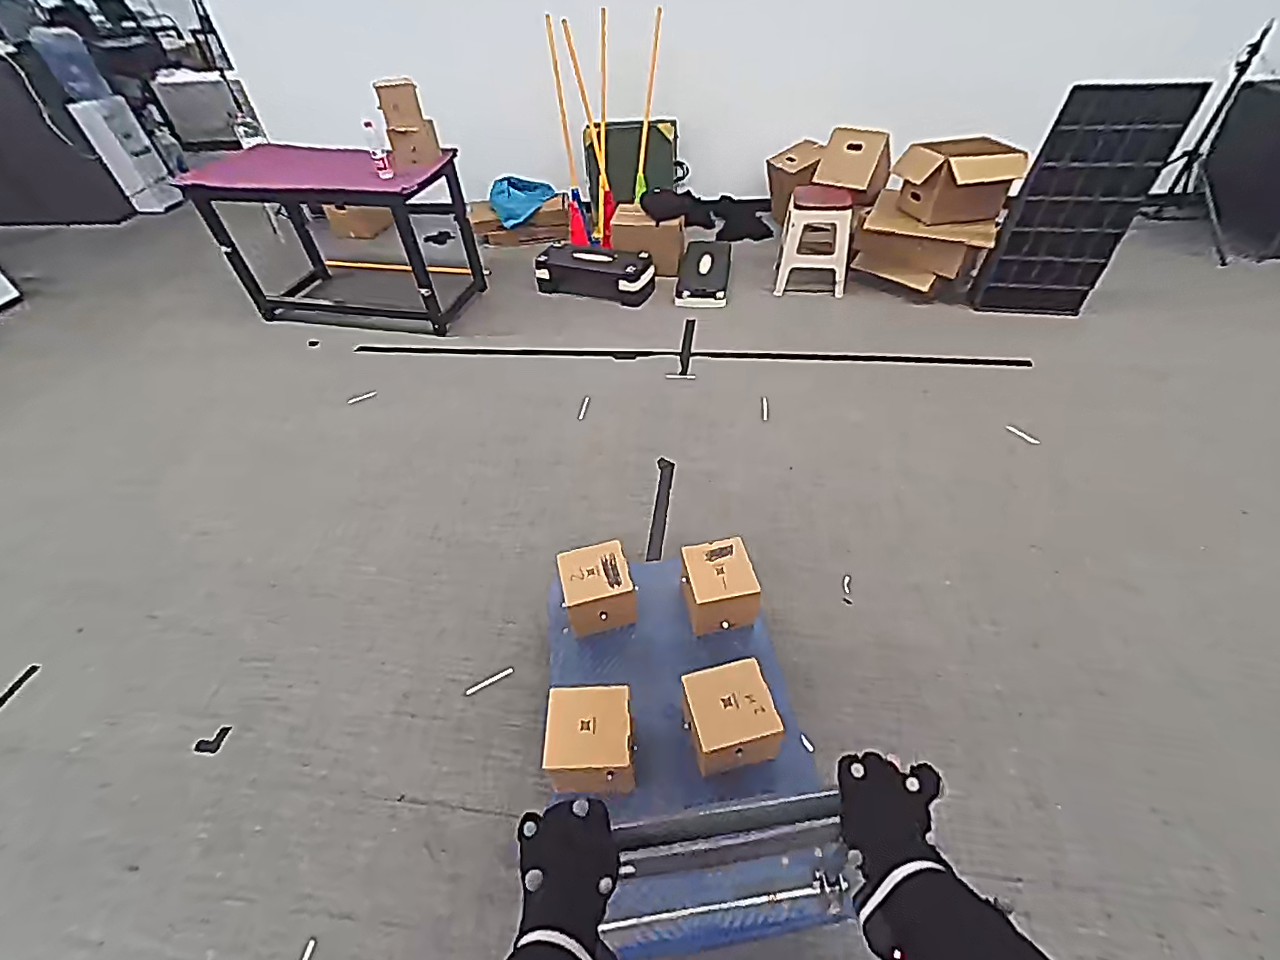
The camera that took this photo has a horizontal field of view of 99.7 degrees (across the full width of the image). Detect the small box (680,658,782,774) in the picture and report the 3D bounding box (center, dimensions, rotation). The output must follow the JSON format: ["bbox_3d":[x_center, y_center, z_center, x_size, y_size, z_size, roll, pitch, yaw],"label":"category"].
[{"bbox_3d":[0.193,0.524,1.195,0.179,0.176,0.168,-12,46,-7],"label":"small box"}]

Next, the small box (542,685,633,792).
[{"bbox_3d":[-0.107,0.566,1.180,0.179,0.176,0.168,-2,45,0],"label":"small box"}]

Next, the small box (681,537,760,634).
[{"bbox_3d":[0.203,0.280,1.432,0.168,0.176,0.179,-10,47,-5],"label":"small box"}]
